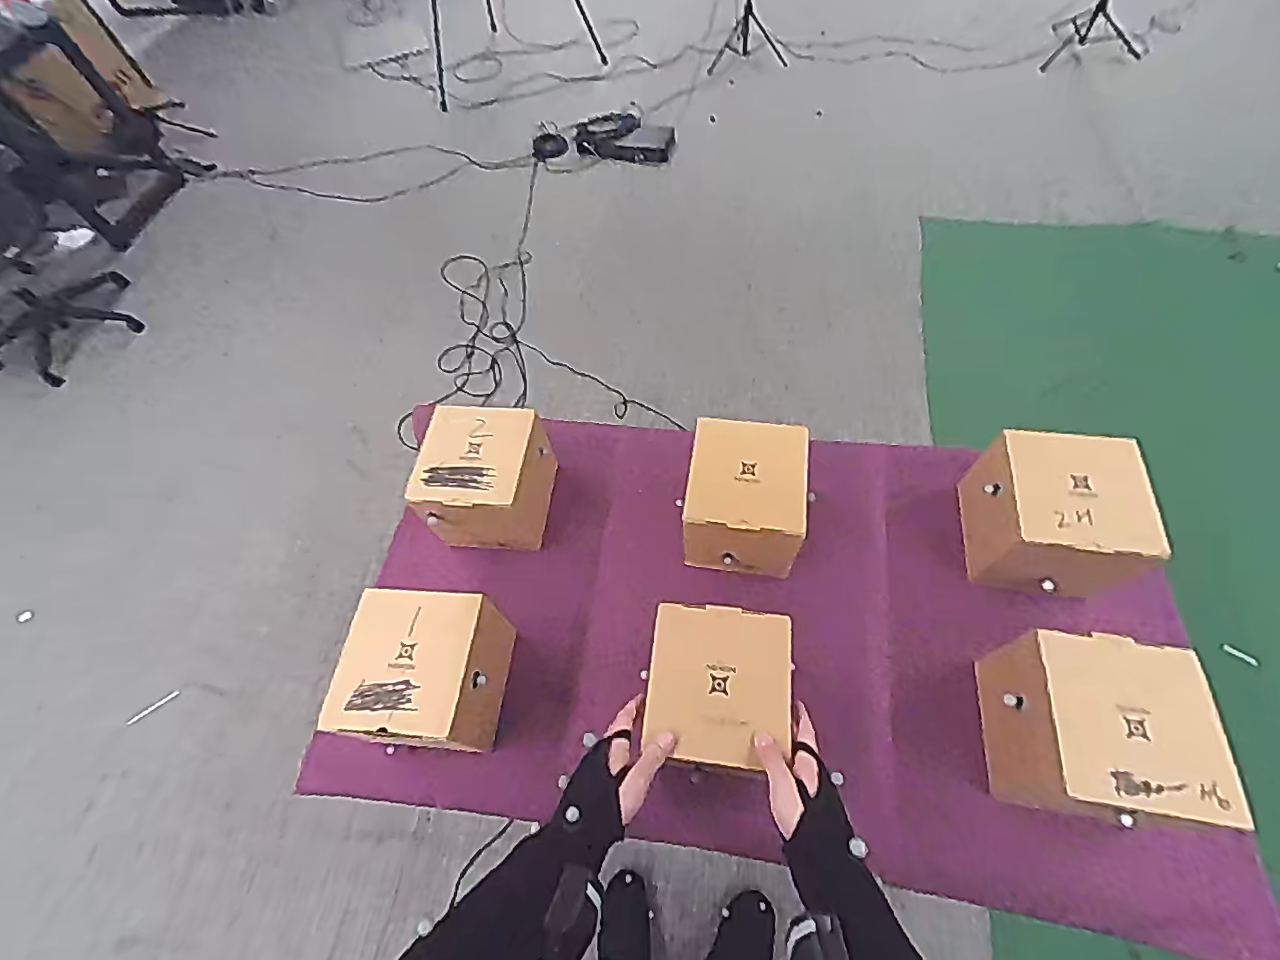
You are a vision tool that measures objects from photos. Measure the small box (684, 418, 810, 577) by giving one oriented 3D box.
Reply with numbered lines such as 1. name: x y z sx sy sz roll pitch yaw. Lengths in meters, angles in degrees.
1. small box: 0.159 0.030 0.832 0.168 0.176 0.179 7 62 8

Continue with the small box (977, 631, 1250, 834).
1. small box: 0.530 0.301 0.643 0.168 0.176 0.179 7 59 10

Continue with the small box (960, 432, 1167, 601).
1. small box: 0.584 0.056 0.778 0.168 0.176 0.179 6 62 11

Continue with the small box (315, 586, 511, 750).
1. small box: -0.286 0.259 0.731 0.168 0.176 0.179 3 59 6

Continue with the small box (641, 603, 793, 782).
1. small box: 0.098 0.276 0.695 0.168 0.176 0.179 5 60 8
